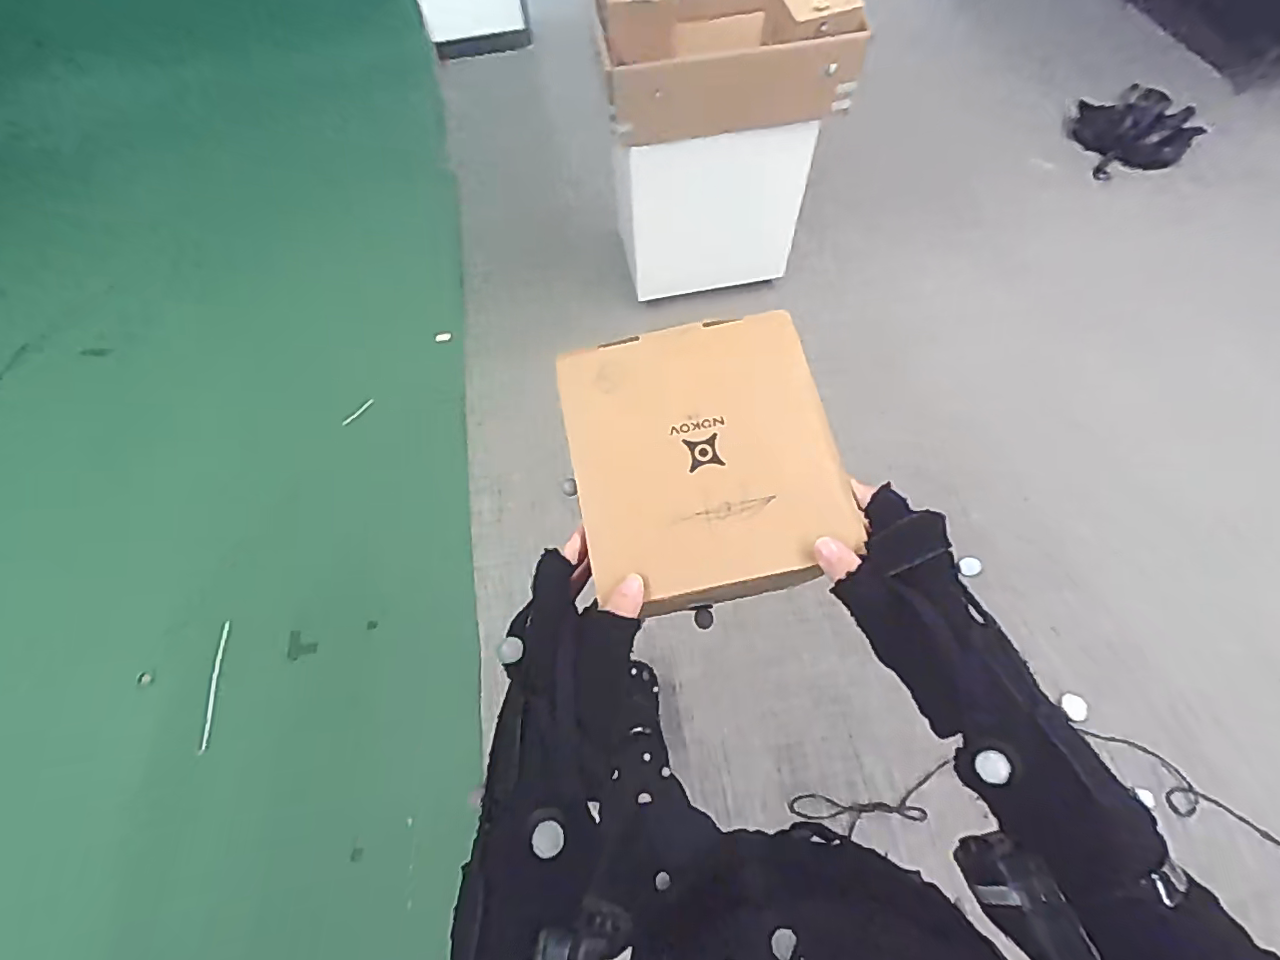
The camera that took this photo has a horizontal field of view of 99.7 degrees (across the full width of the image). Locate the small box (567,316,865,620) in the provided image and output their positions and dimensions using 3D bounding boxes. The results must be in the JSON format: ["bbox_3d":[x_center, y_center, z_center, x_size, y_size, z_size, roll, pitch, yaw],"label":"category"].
[{"bbox_3d":[0.044,0.004,0.425,0.168,0.176,0.179,-11,72,-1],"label":"small box"}]
